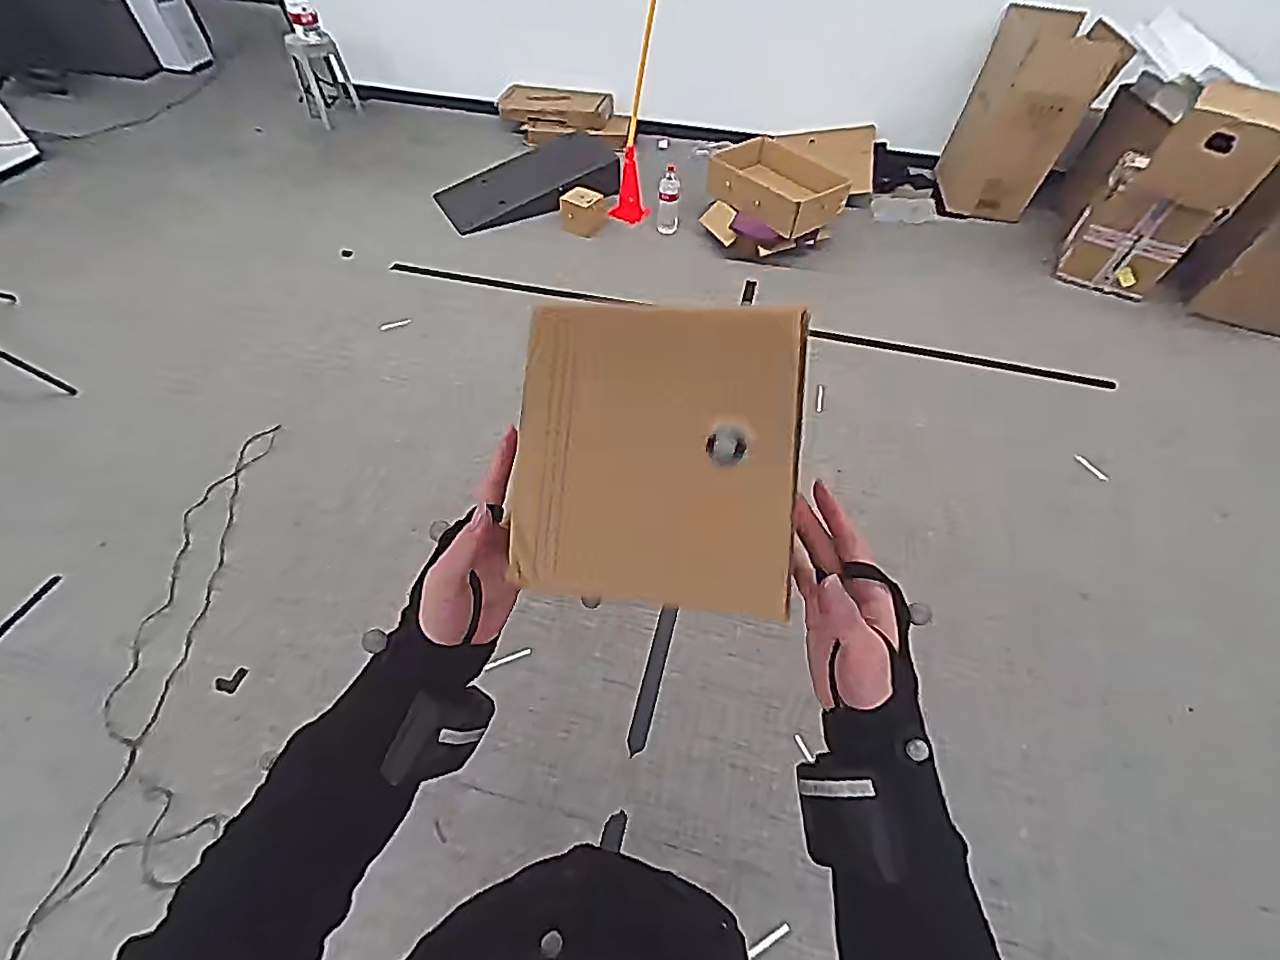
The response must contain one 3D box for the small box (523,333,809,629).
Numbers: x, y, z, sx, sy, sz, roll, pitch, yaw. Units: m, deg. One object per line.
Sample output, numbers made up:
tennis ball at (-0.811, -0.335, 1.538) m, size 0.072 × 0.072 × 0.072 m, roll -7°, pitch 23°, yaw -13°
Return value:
small box at (0.023, -0.006, 0.401) m, size 0.176 × 0.168 × 0.179 m, roll 5°, pitch 93°, yaw 12°
